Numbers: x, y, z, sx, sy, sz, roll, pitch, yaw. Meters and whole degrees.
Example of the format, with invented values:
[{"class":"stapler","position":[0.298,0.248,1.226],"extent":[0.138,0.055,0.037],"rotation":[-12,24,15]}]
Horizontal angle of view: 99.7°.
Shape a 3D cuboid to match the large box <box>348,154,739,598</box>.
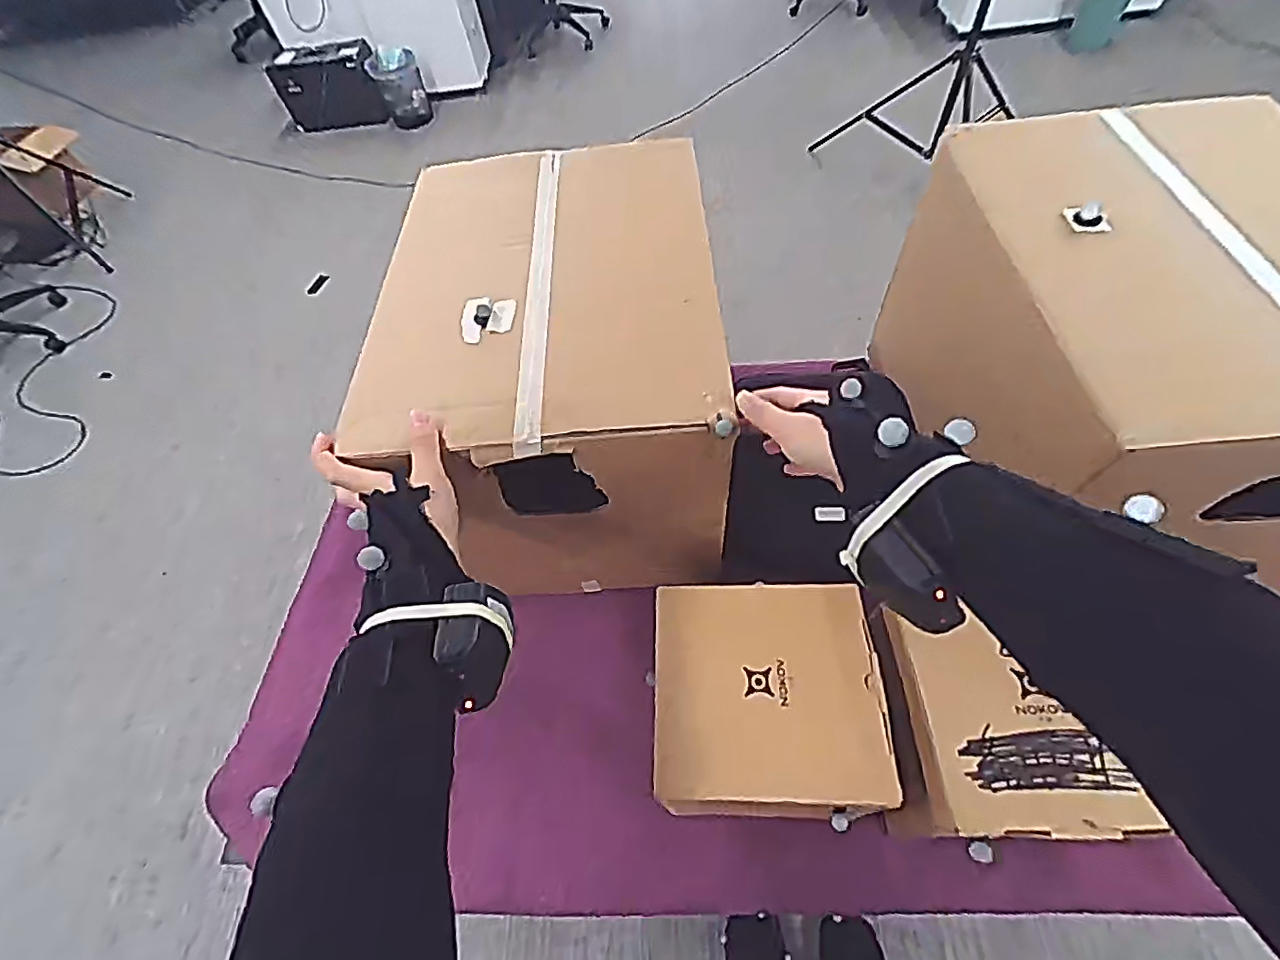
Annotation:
[{"class":"large box","position":[-0.076,-0.109,0.639],"extent":[0.320,0.320,0.408],"rotation":[-6,59,4]}]
